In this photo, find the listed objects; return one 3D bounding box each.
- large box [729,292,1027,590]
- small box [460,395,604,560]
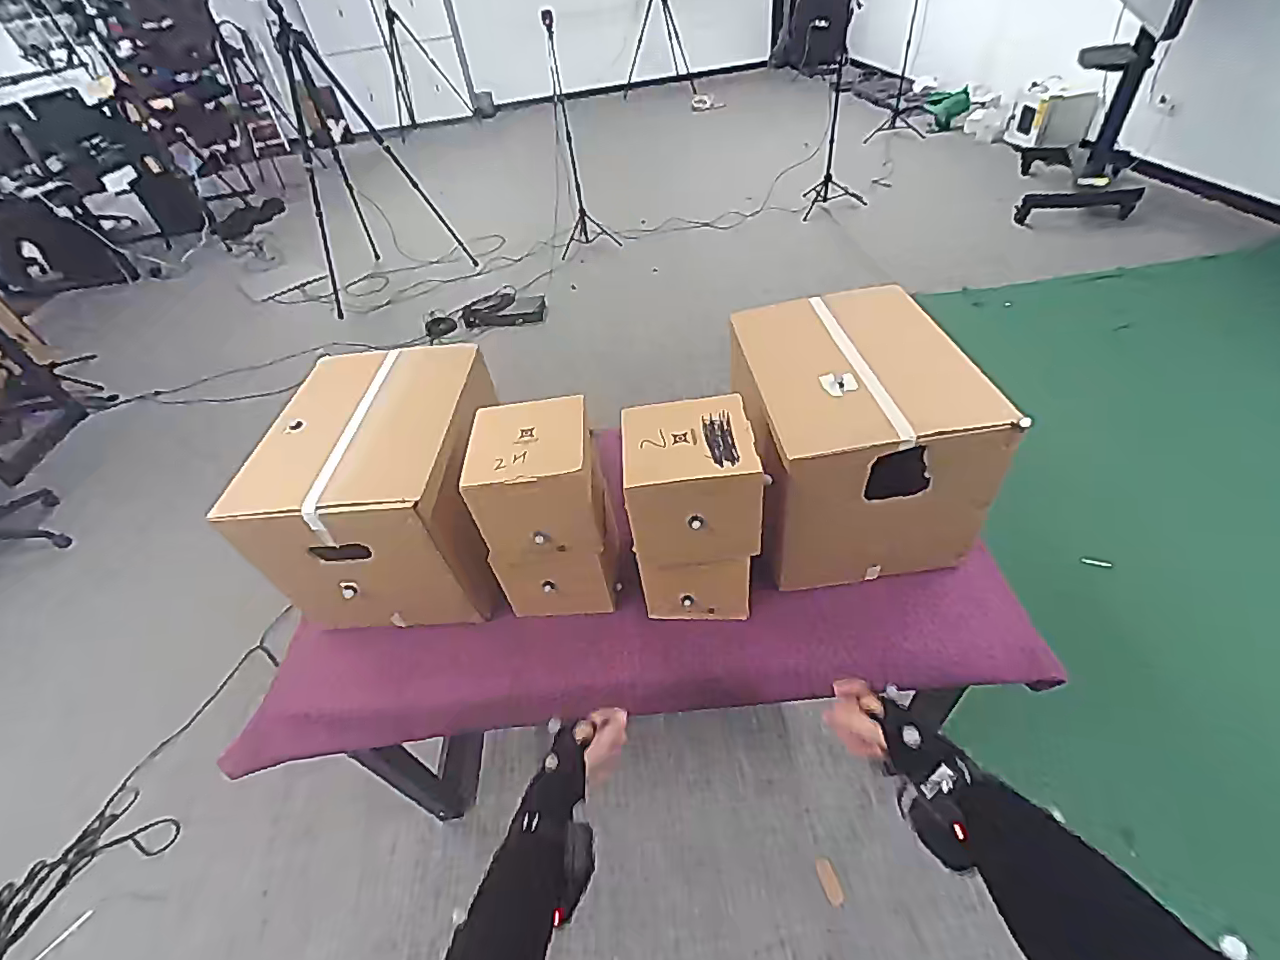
[{"bbox_3d":[0.352,-0.076,0.945,0.320,0.320,0.408,-10,45,3],"label":"large box"},{"bbox_3d":[-0.150,-0.003,0.816,0.168,0.176,0.179,-8,44,3],"label":"small box"}]
